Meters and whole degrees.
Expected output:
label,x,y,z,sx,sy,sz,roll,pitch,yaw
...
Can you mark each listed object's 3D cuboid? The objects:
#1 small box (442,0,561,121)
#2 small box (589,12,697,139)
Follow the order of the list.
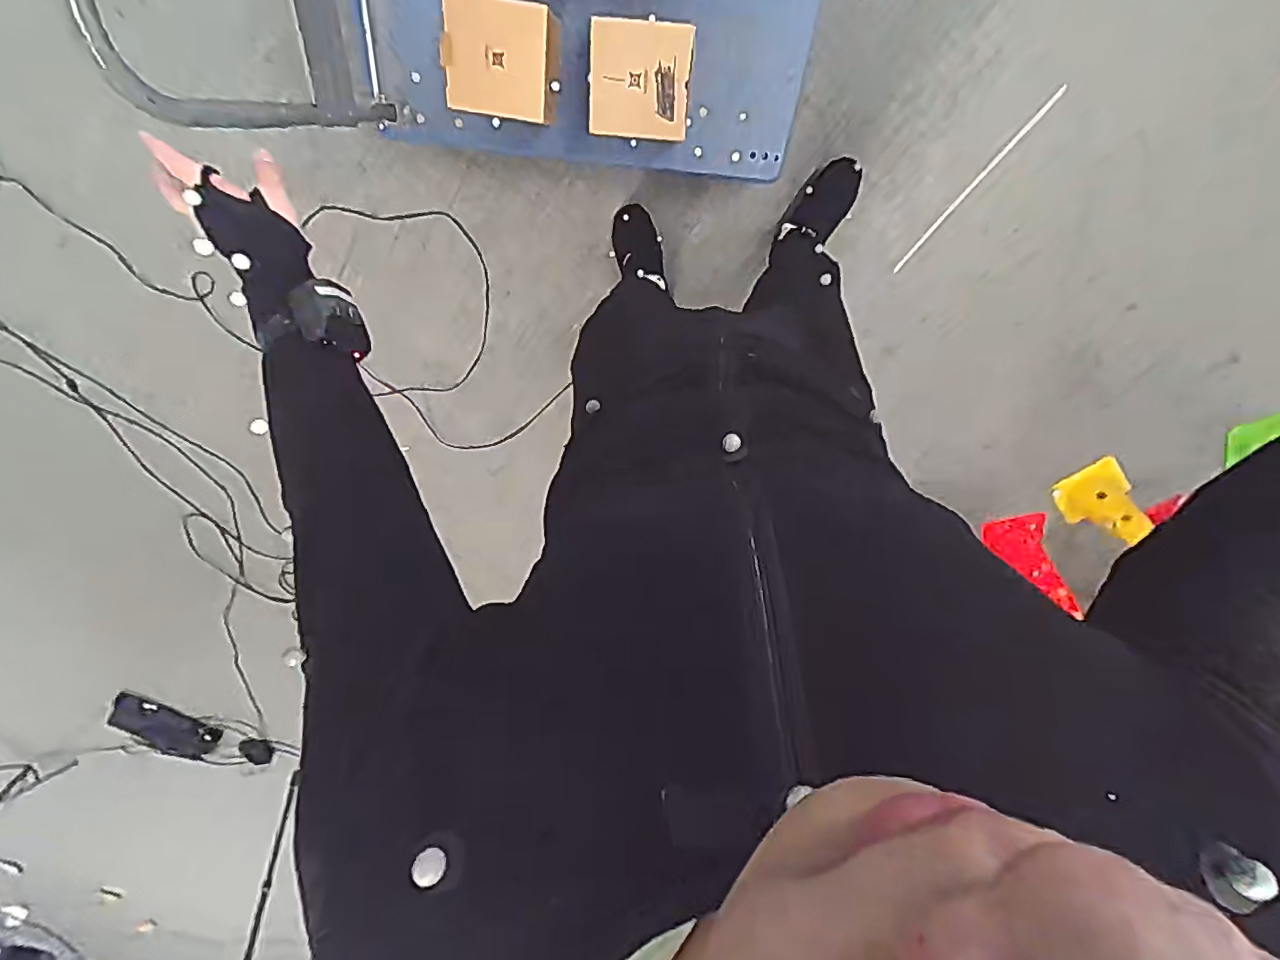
label,x,y,z,sx,sy,sz,roll,pitch,yaw
small box,-0.243,-0.765,0.982,0.179,0.176,0.168,7,123,-3
small box,0.004,-0.732,0.992,0.179,0.176,0.168,5,123,0
